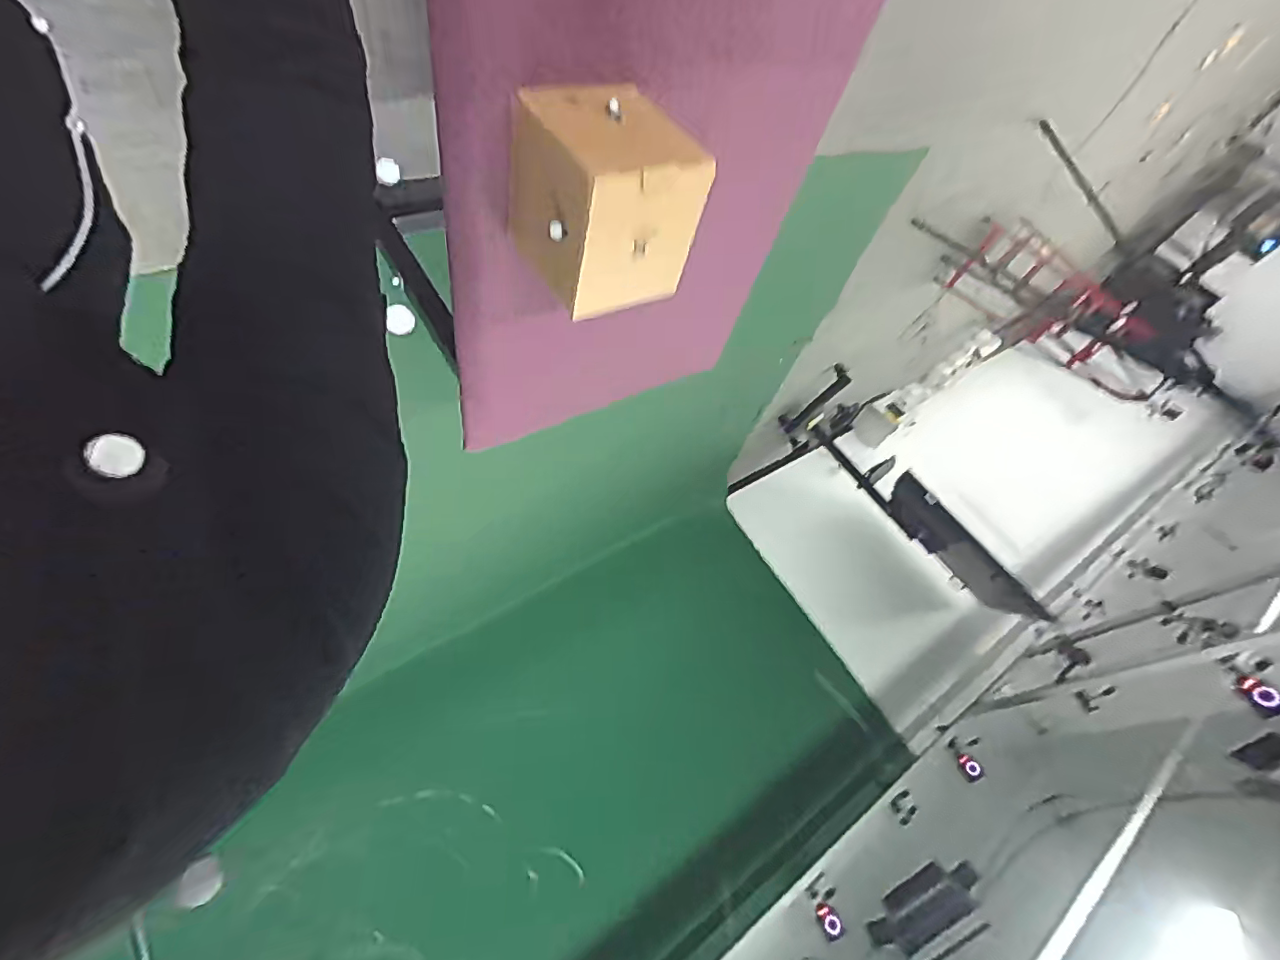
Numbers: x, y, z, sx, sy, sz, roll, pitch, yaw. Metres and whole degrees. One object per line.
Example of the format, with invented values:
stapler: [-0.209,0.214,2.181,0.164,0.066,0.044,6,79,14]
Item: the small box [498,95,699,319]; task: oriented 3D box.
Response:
small box: [-0.062,-0.333,0.663,0.168,0.176,0.179,-25,156,-30]
